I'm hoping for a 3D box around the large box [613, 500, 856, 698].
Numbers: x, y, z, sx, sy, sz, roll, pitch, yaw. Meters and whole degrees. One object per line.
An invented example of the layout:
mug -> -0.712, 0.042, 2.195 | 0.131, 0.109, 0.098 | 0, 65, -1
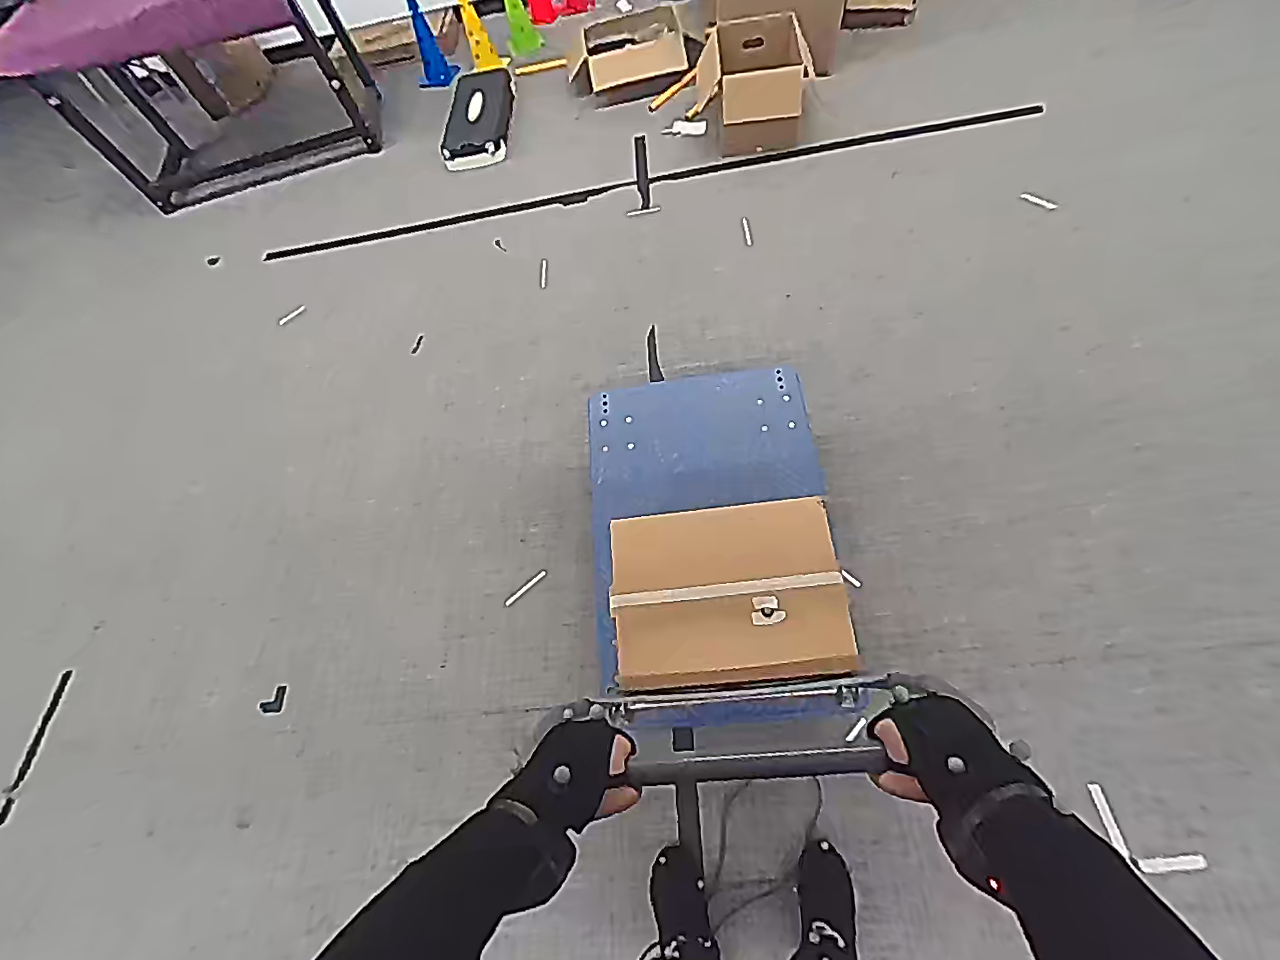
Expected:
large box -> 0.174, 0.262, 1.117 | 0.408, 0.320, 0.320 | -7, 67, 5
